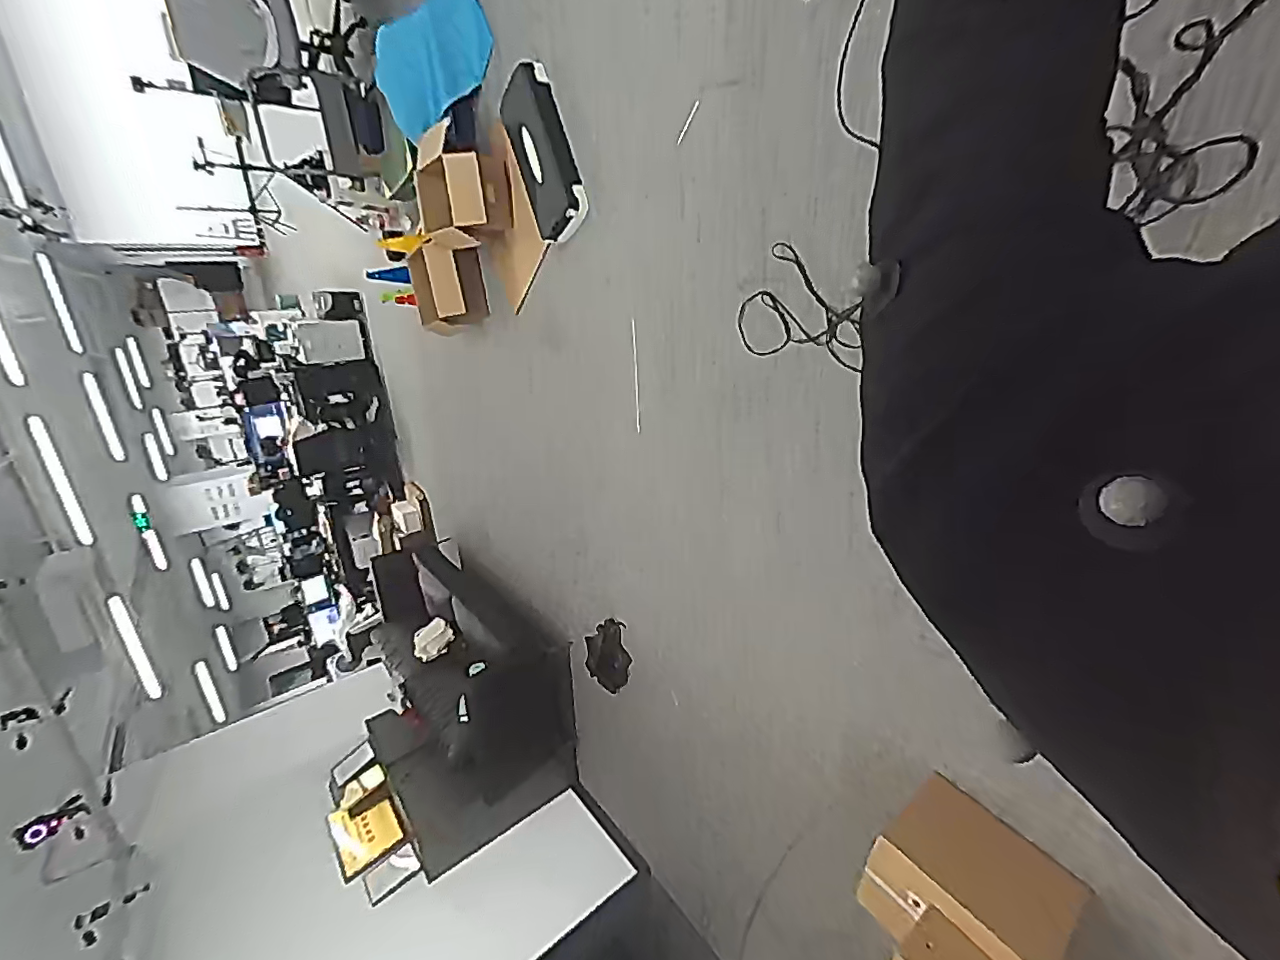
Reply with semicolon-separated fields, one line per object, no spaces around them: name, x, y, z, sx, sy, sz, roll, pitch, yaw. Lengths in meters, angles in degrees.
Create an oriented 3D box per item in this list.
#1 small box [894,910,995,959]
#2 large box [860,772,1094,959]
small box;0.716;1.172;1.277;0.179;0.176;0.168;30;129;42
large box;0.880;1.102;1.447;0.408;0.320;0.320;31;127;45
